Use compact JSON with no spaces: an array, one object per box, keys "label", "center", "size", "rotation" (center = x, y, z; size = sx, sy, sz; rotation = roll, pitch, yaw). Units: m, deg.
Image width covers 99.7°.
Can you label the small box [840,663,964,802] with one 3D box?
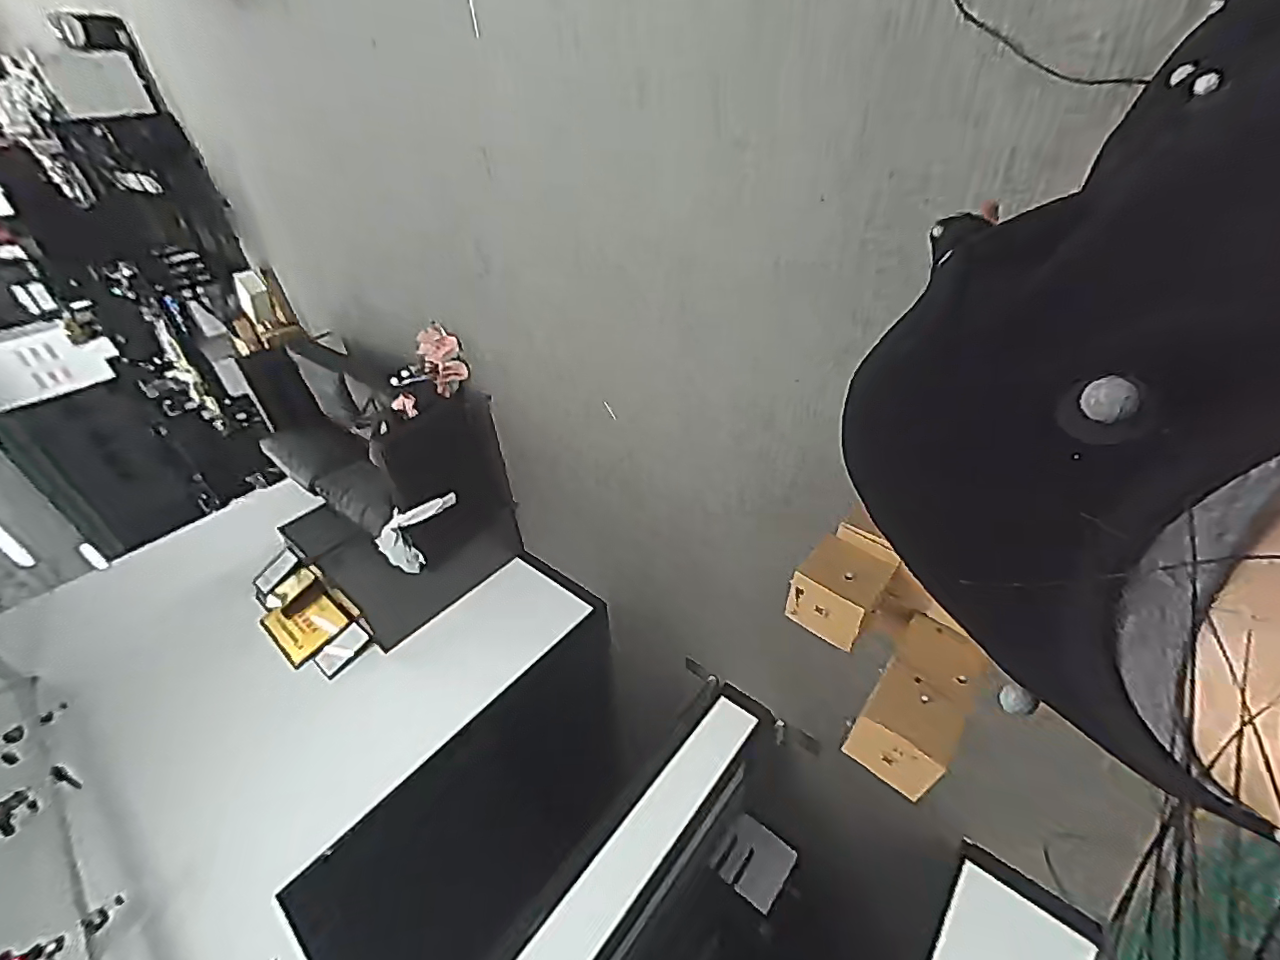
[{"label":"small box","center":[0.562,0.536,1.159],"size":[0.168,0.176,0.179],"rotation":[30,137,28]}]

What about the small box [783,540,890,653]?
[{"label":"small box","center":[0.480,0.275,1.315],"size":[0.179,0.176,0.168],"rotation":[28,134,30]}]
